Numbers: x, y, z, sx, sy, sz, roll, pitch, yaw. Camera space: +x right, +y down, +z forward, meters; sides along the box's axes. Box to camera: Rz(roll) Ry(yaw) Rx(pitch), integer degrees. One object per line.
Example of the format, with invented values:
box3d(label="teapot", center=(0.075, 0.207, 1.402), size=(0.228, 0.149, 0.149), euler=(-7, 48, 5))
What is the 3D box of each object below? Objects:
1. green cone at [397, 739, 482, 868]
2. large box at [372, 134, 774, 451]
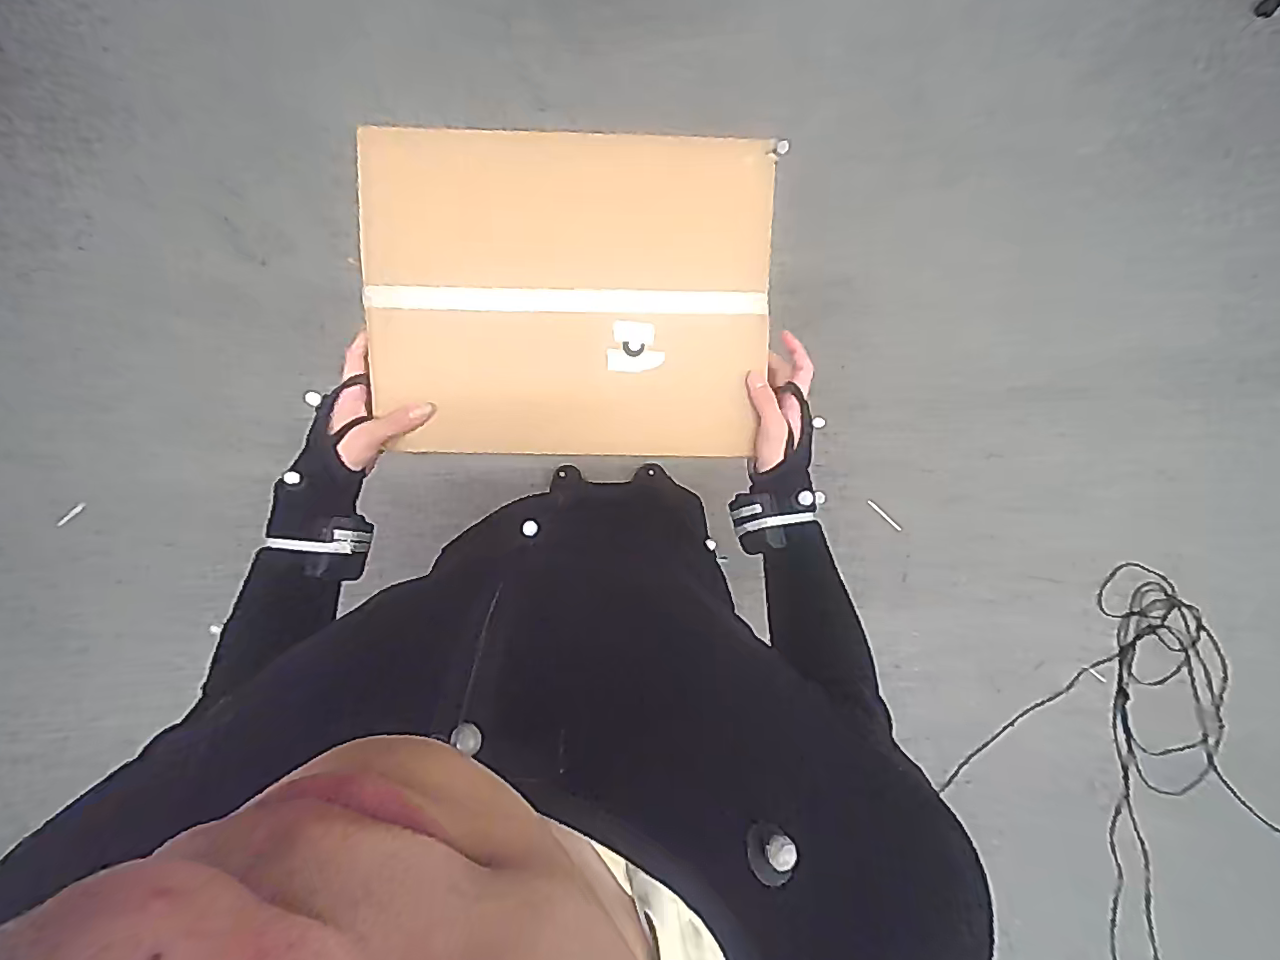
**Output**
box3d(label="green cone", center=(-0.572, 0.889, 1.460), size=(0.200, 0.368, 0.202), euler=(4, 93, -4))
box3d(label="large box", center=(-0.071, -0.207, 0.700), size=(0.408, 0.320, 0.320), euler=(0, 99, -2))
